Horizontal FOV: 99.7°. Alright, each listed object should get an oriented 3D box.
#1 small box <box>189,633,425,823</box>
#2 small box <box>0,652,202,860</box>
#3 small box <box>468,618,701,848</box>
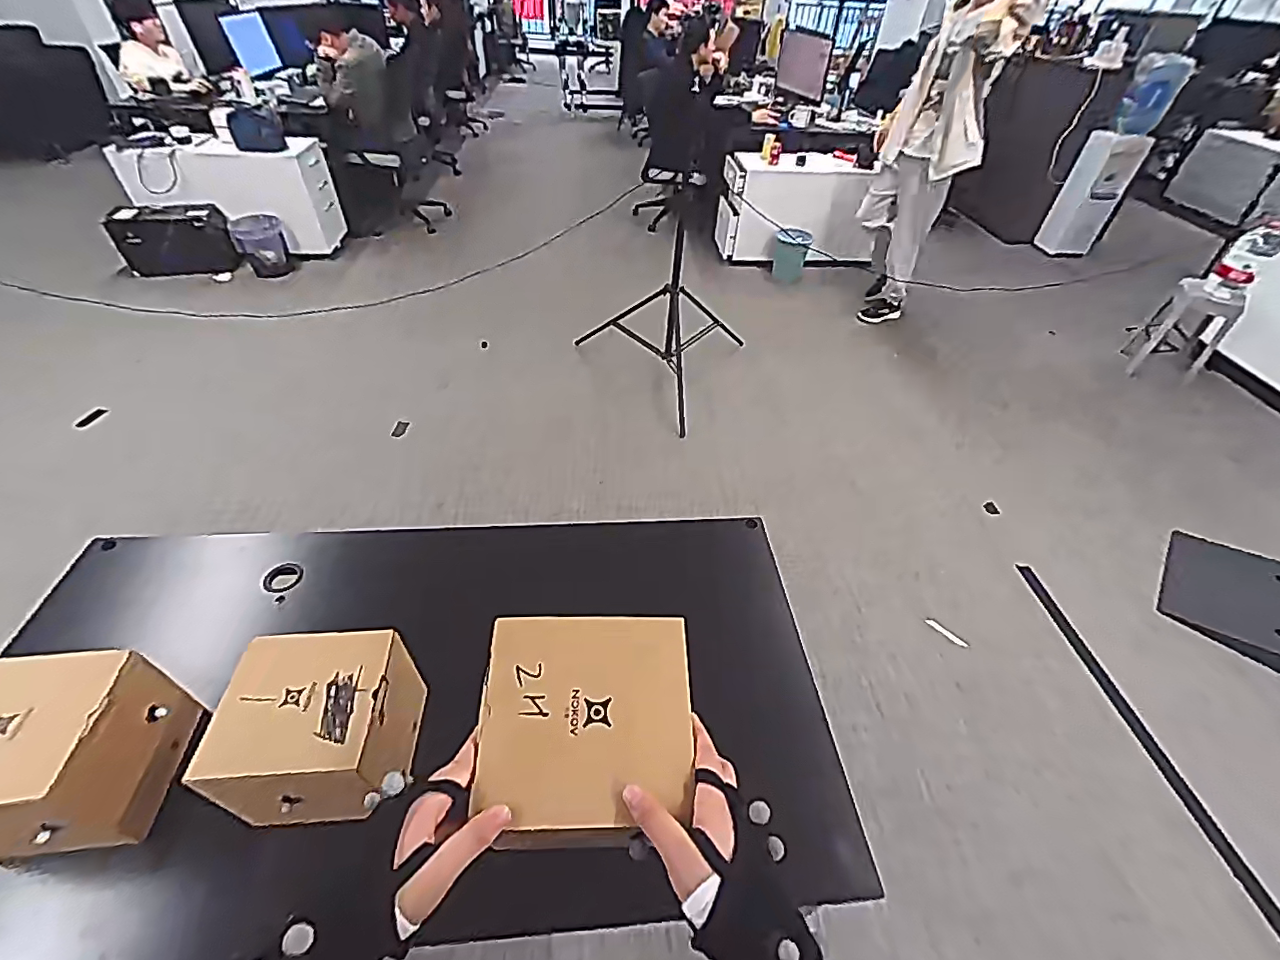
[{"bbox_3d":[-0.386,0.308,0.673,0.179,0.176,0.168,-2,44,-4],"label":"small box"},{"bbox_3d":[-0.679,0.326,0.640,0.179,0.176,0.168,-4,43,-7],"label":"small box"},{"bbox_3d":[-0.046,0.242,0.512,0.179,0.176,0.168,0,52,-3],"label":"small box"}]
